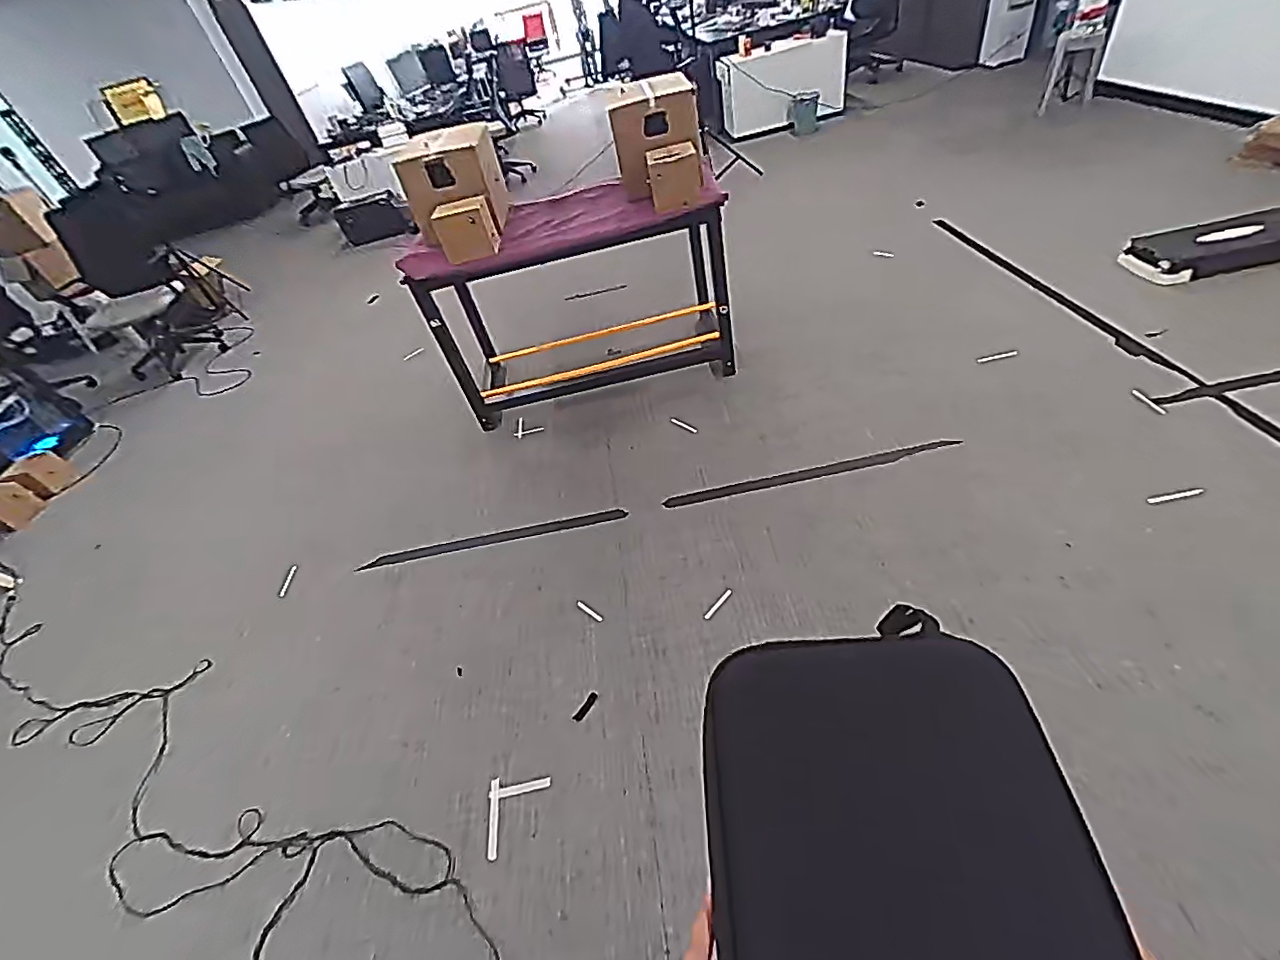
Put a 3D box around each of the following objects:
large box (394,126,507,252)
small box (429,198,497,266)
[{"bbox_3d":[-0.739,-1.177,2.181,0.320,0.320,0.408,-12,46,3],"label":"large box"},{"bbox_3d":[-0.641,-0.903,1.976,0.179,0.176,0.168,-13,42,2],"label":"small box"}]
